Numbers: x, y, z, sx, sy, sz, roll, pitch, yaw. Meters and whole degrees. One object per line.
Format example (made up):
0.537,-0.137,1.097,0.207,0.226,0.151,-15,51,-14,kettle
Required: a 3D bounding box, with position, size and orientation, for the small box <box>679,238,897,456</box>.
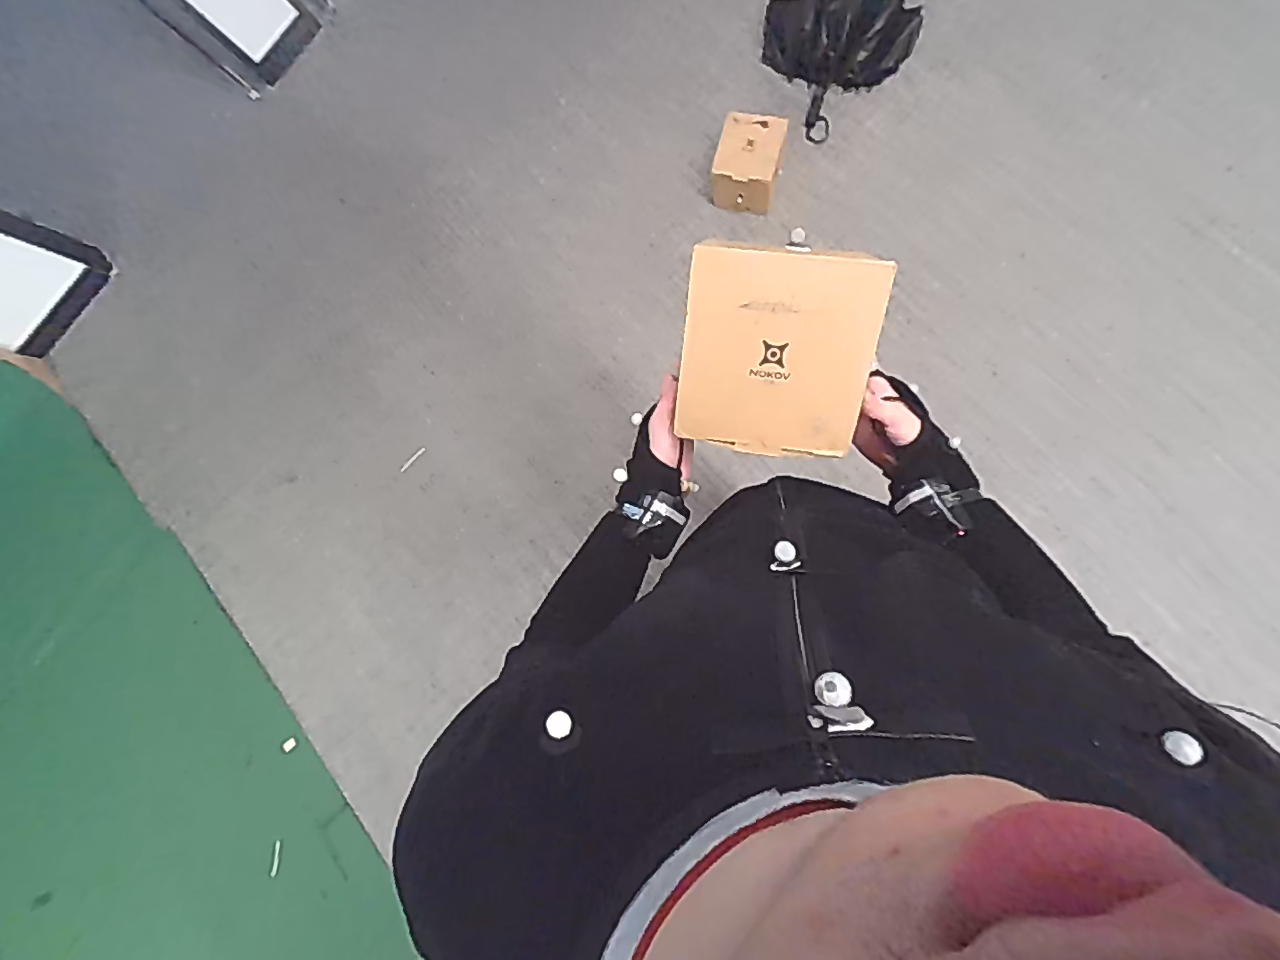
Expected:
0.137,-0.144,0.553,0.168,0.176,0.179,7,116,6,small box
